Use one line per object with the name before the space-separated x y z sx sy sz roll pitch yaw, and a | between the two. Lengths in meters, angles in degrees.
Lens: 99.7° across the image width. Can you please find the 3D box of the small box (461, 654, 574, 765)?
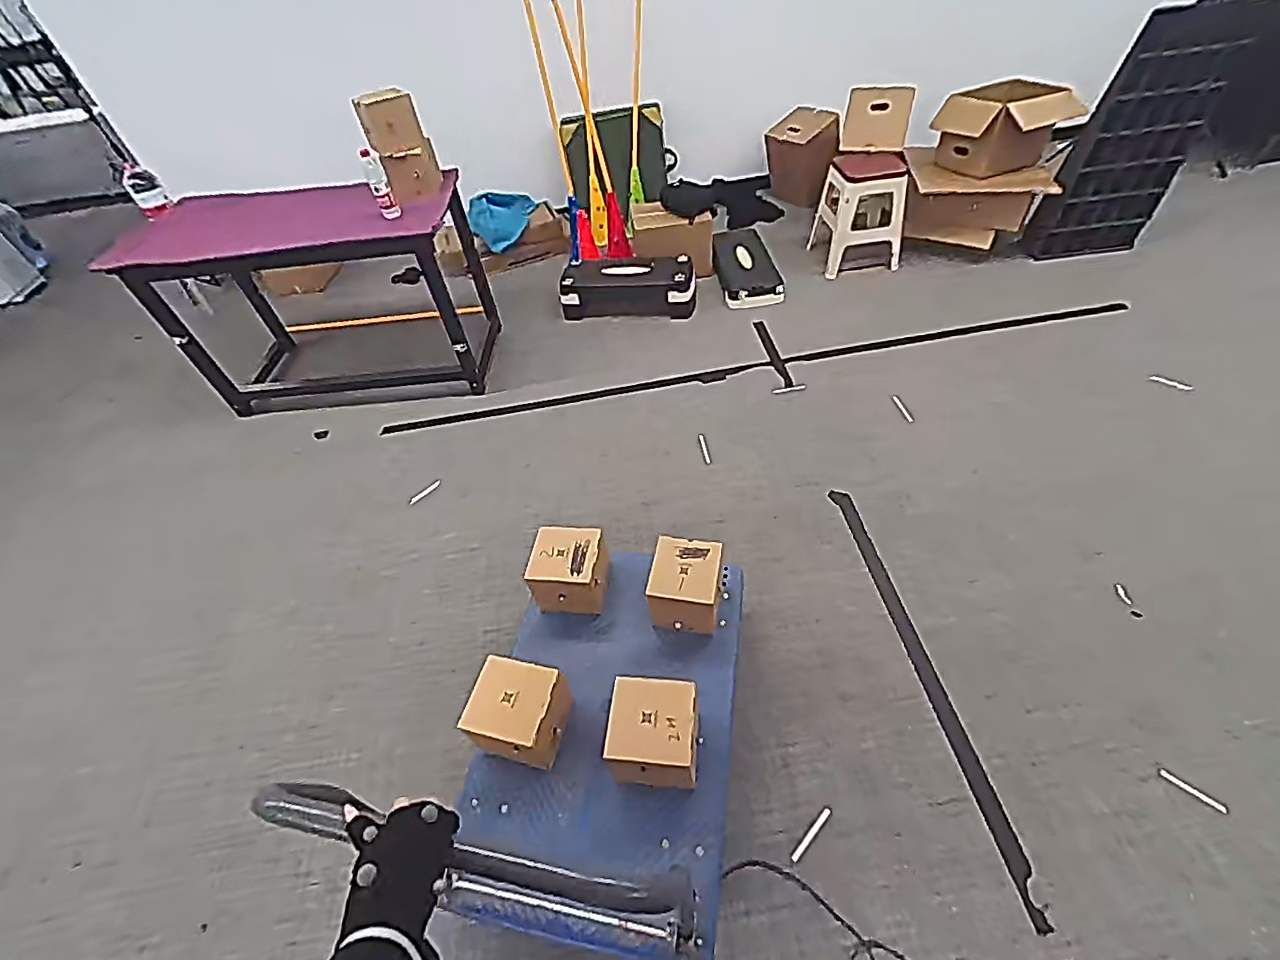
small box | -0.266 0.519 1.219 0.179 0.176 0.168 8 50 13

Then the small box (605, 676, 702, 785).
small box | 0.037 0.537 1.156 0.179 0.176 0.168 1 49 10

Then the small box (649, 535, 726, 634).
small box | 0.125 0.267 1.383 0.168 0.176 0.179 6 51 14
